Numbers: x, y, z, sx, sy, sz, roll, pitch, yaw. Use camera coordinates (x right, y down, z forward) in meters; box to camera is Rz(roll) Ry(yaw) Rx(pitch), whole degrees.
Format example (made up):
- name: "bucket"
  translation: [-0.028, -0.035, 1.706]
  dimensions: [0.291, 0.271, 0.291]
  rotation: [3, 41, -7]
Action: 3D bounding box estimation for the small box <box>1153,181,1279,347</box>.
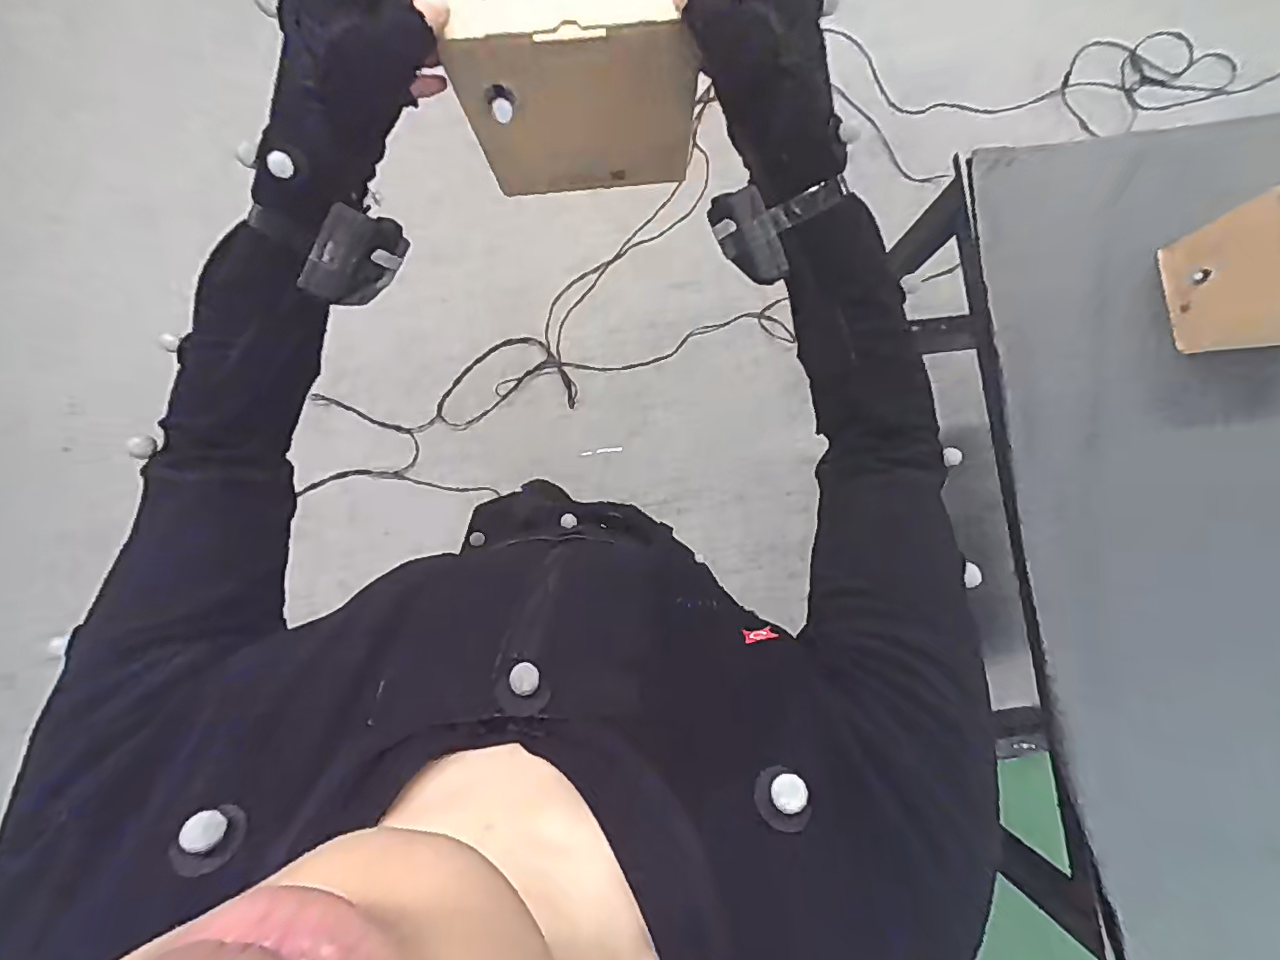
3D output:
- name: "small box"
  translation: [0.885, -0.296, 0.751]
  dimensions: [0.179, 0.176, 0.168]
  rotation: [-6, 85, -2]
